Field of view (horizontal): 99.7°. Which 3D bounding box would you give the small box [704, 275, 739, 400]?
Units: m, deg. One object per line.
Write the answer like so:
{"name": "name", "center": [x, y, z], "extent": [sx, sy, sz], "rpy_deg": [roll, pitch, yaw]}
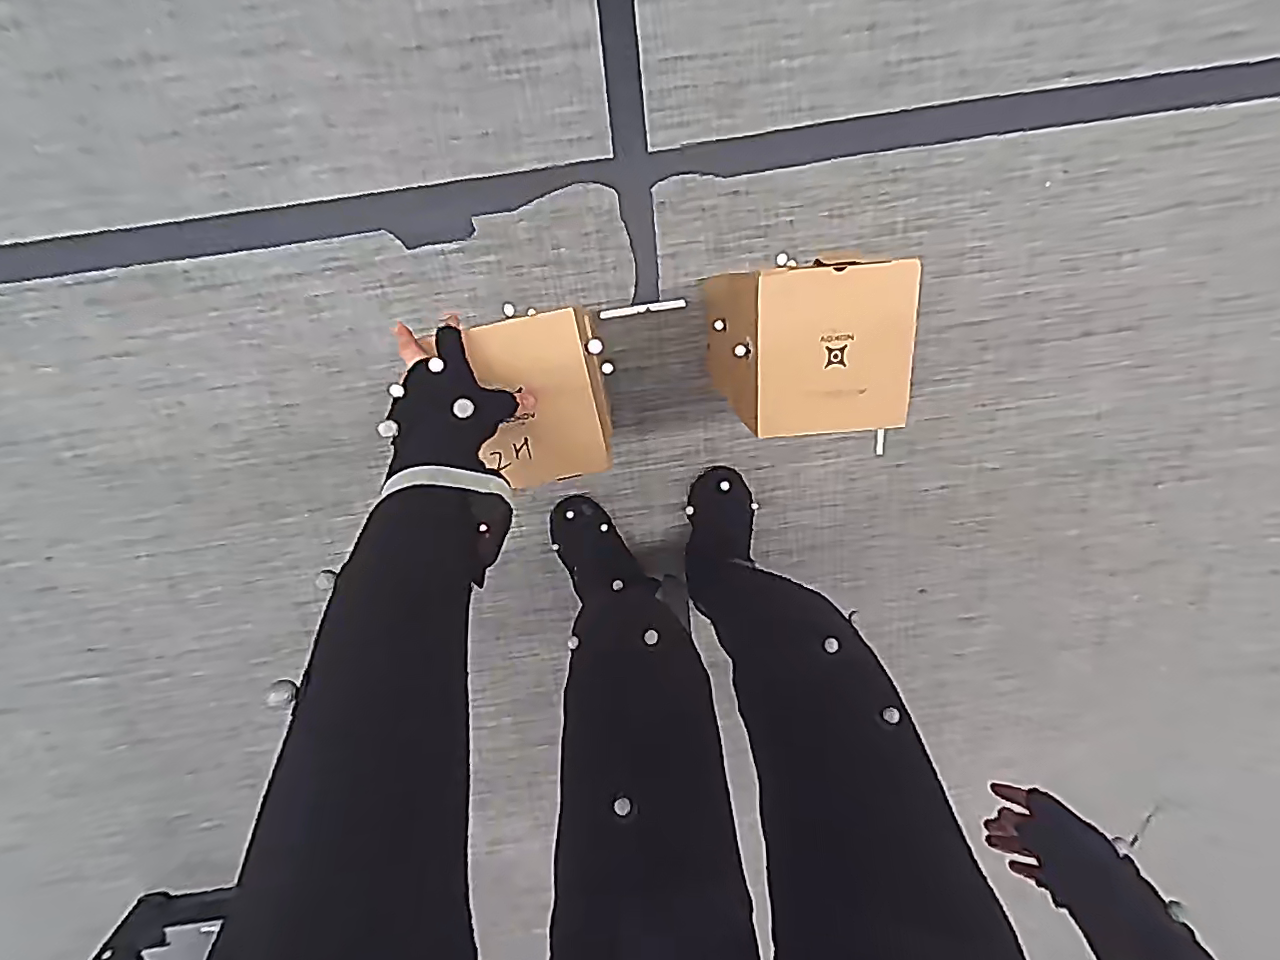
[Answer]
{"name": "small box", "center": [0.198, -0.216, 0.796], "extent": [0.179, 0.176, 0.168], "rpy_deg": [-4, 109, -4]}

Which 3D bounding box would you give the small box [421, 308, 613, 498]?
{"name": "small box", "center": [-0.130, -0.100, 0.640], "extent": [0.168, 0.176, 0.179], "rpy_deg": [-12, 110, 1]}

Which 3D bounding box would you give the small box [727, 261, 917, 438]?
{"name": "small box", "center": [0.199, -0.159, 0.644], "extent": [0.168, 0.176, 0.179], "rpy_deg": [-4, 110, -1]}
